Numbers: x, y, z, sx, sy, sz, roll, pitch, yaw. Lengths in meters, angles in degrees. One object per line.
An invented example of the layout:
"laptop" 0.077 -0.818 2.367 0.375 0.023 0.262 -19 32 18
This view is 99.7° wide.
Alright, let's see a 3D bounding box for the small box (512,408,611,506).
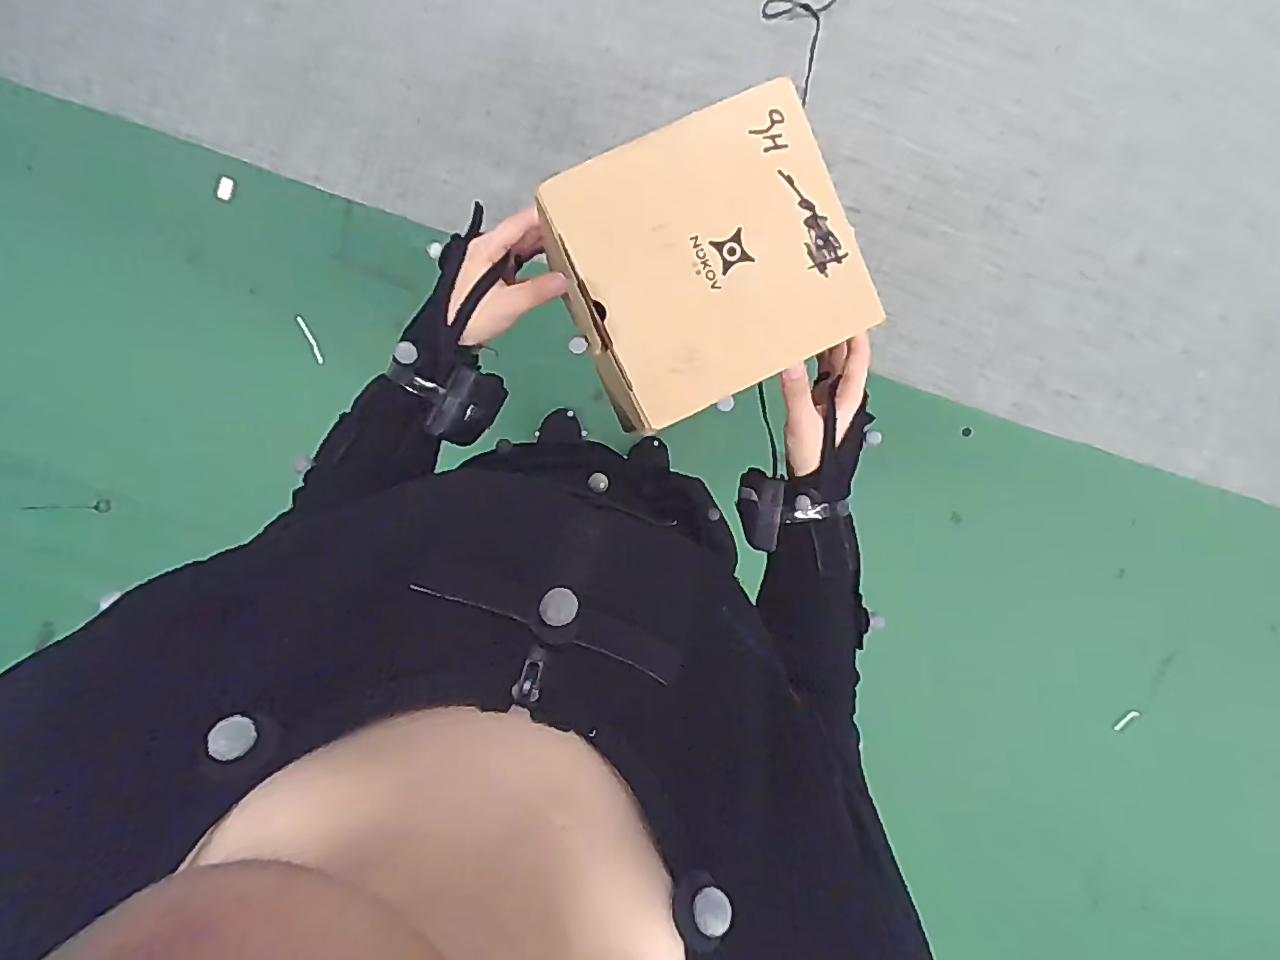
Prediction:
"small box" -0.189 -0.053 1.311 0.179 0.176 0.168 44 90 3
